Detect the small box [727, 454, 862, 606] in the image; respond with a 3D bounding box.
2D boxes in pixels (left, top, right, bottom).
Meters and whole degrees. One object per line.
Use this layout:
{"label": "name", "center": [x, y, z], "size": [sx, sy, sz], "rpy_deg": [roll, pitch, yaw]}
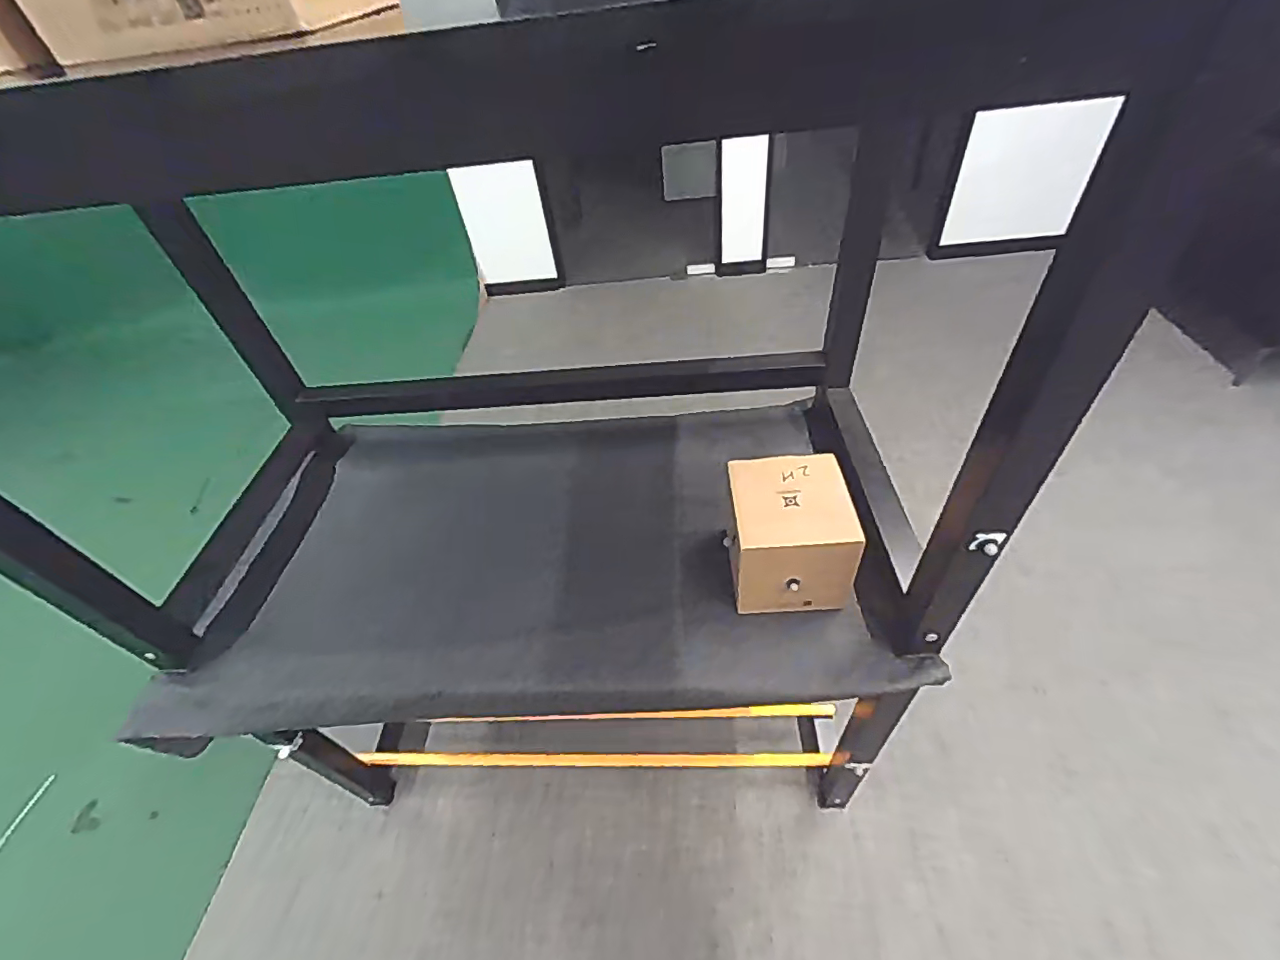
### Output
{"label": "small box", "center": [0.226, 0.083, 0.838], "size": [0.168, 0.176, 0.179], "rpy_deg": [-4, 45, 4]}
